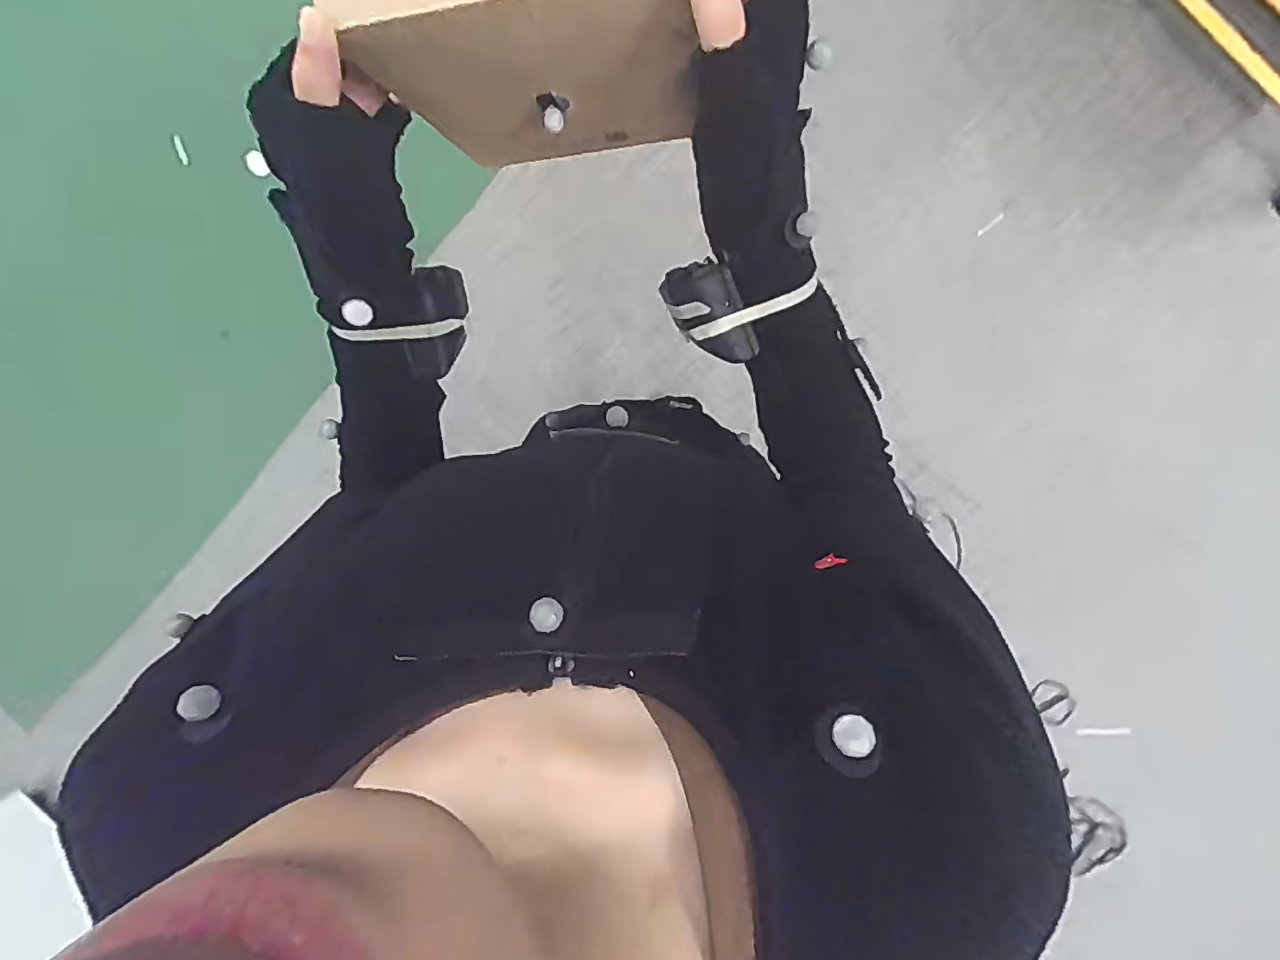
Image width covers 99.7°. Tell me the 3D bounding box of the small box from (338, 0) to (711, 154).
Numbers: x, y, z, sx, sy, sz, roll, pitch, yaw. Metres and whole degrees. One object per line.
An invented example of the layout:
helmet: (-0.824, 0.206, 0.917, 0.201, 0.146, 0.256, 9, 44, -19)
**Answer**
small box: (-0.047, -0.300, 0.291, 0.168, 0.176, 0.179, -3, 101, 7)
